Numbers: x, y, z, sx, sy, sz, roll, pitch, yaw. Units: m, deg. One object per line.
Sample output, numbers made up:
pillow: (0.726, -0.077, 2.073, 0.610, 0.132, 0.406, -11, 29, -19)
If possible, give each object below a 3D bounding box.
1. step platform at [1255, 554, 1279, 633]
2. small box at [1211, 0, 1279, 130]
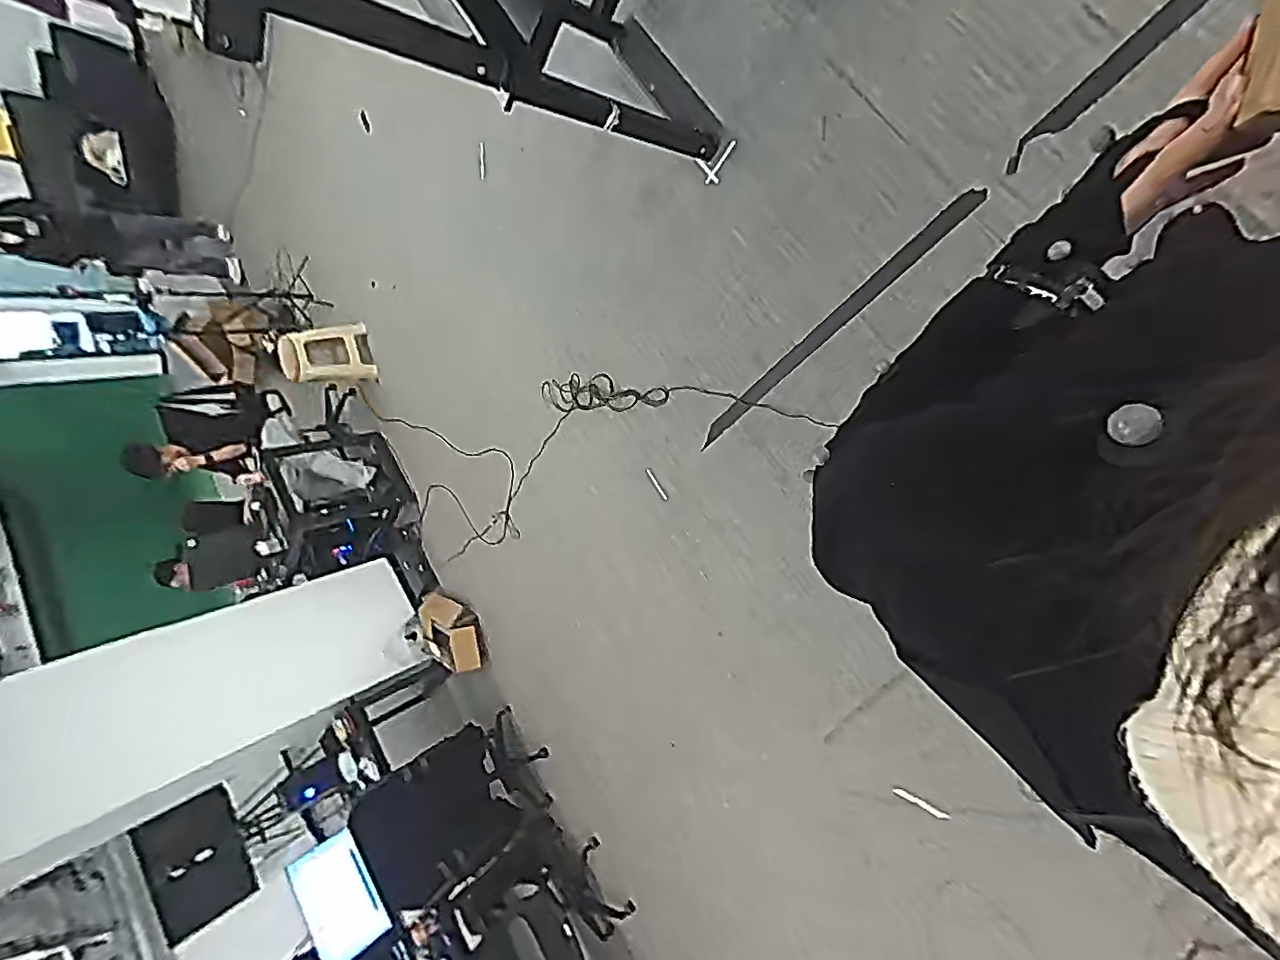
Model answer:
step platform: (1.370, 0.162, 0.735, 0.684, 0.204, 0.286, -36, 77, 43)
small box: (0.410, -0.268, 0.238, 0.179, 0.176, 0.168, 15, 120, 35)
